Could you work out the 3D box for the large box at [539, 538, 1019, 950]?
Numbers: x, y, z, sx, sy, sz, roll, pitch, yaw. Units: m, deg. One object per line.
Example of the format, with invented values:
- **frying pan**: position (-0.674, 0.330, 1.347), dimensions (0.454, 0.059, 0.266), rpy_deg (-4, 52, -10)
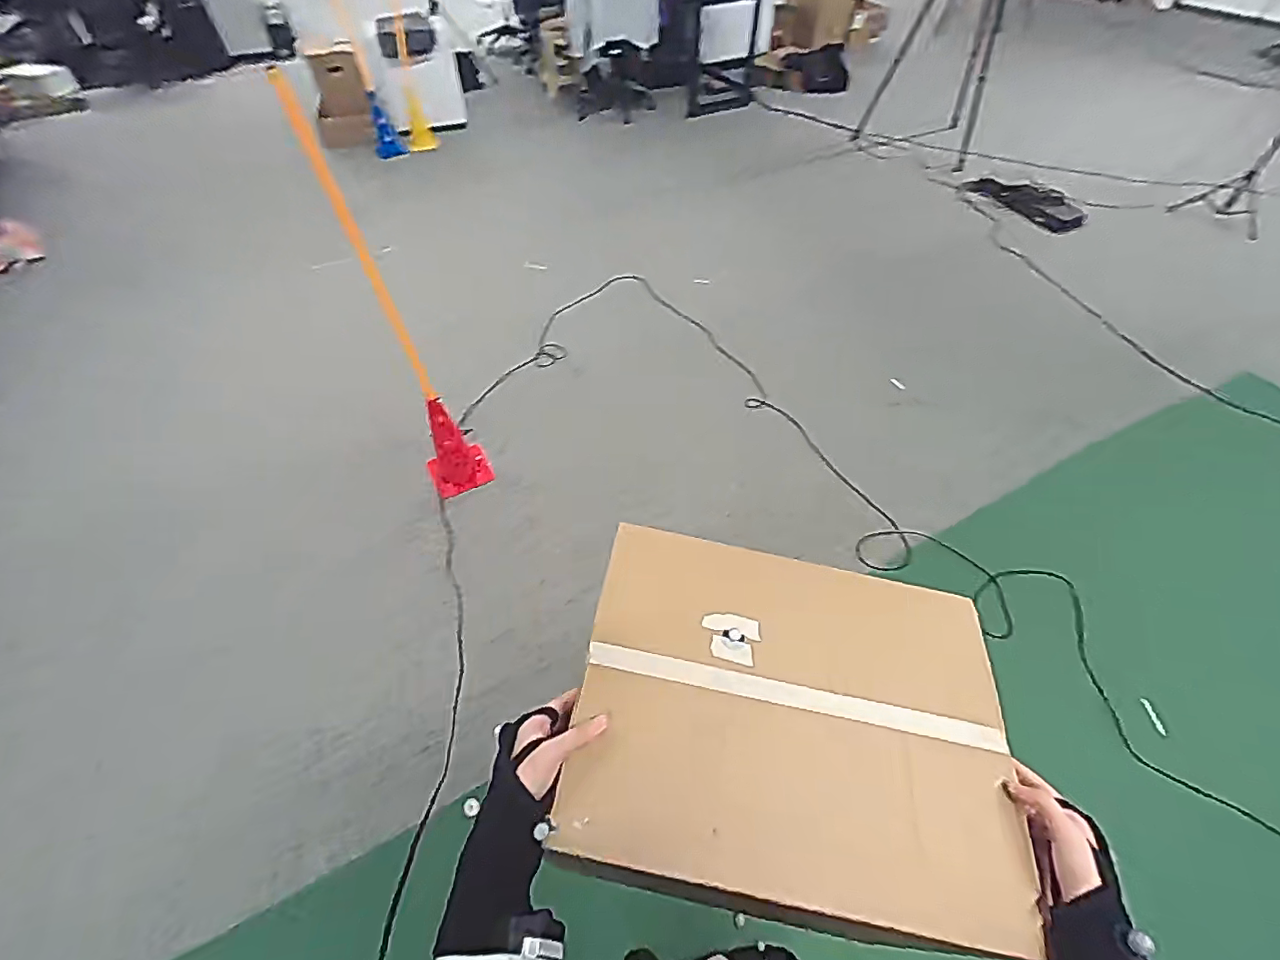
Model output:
- **large box**: position (0.121, 0.309, 0.643), dimensions (0.408, 0.320, 0.320), rpy_deg (12, 52, 1)
